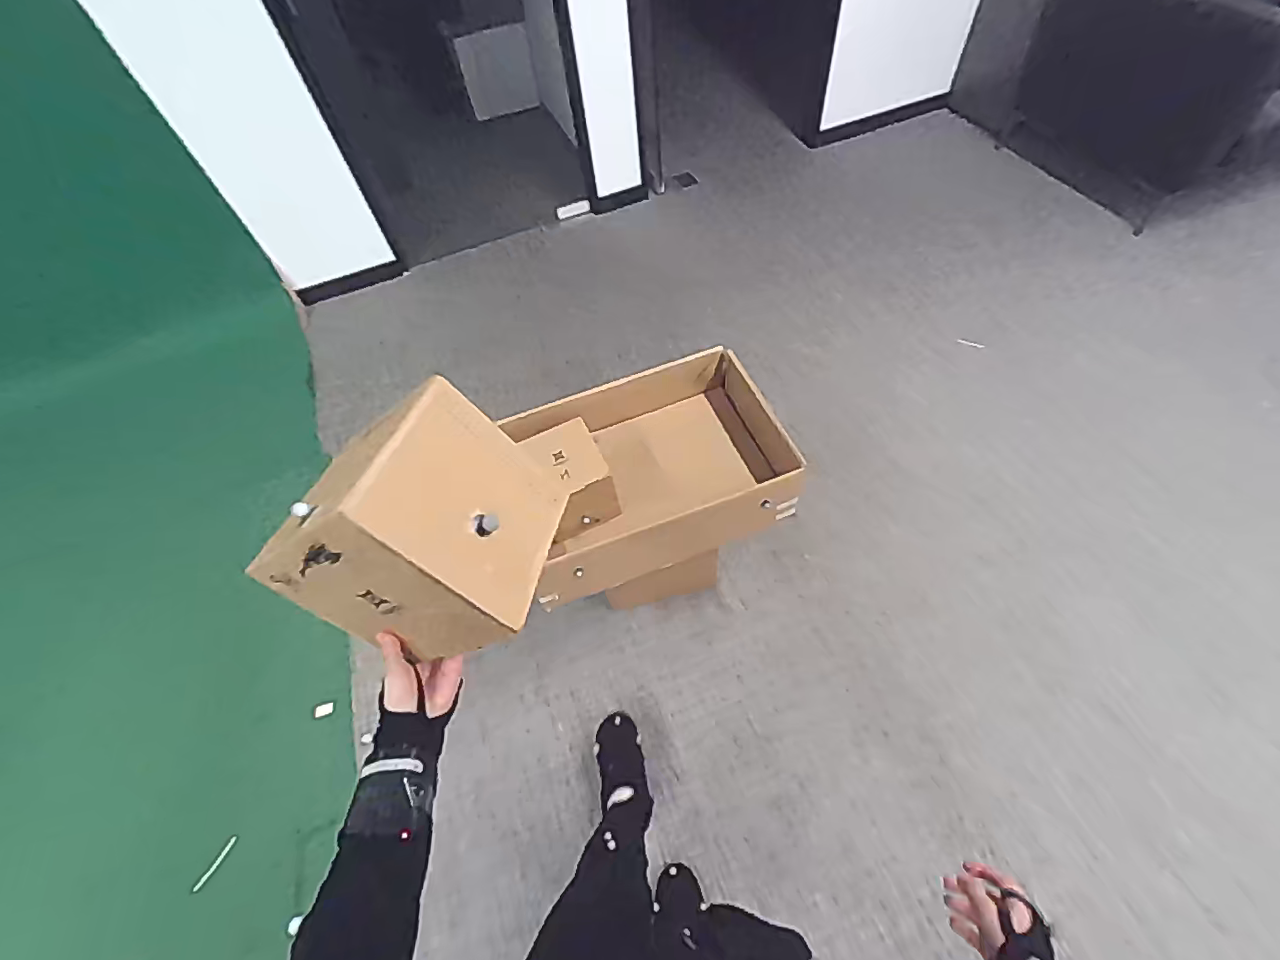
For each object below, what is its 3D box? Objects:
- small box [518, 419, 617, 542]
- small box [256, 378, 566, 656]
[{"bbox_3d":[-0.163,0.004,1.179,0.168,0.176,0.179,-24,58,-8],"label":"small box"},{"bbox_3d":[-0.196,0.038,0.510,0.168,0.179,0.176,-24,34,31],"label":"small box"}]
